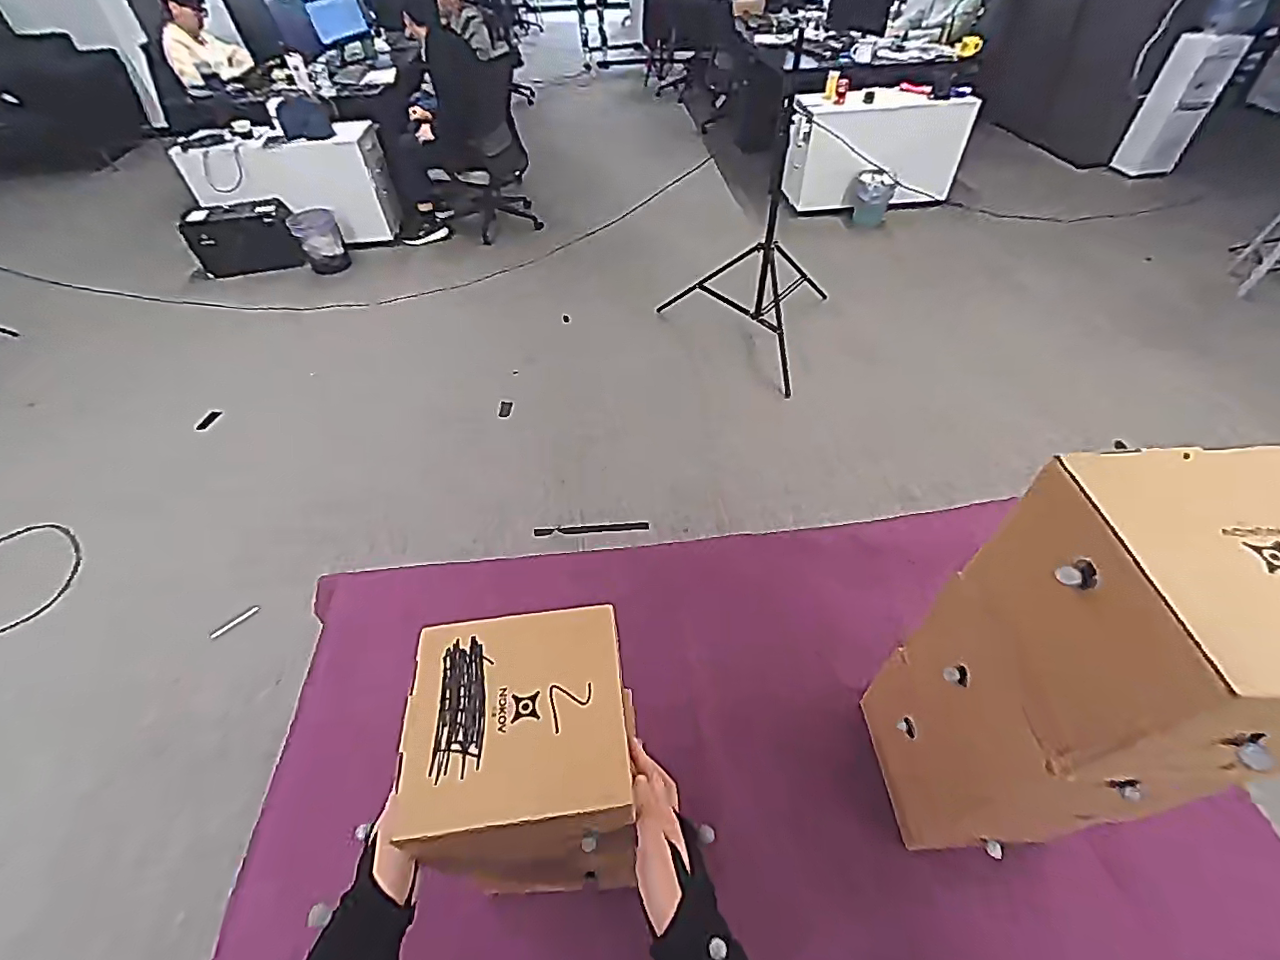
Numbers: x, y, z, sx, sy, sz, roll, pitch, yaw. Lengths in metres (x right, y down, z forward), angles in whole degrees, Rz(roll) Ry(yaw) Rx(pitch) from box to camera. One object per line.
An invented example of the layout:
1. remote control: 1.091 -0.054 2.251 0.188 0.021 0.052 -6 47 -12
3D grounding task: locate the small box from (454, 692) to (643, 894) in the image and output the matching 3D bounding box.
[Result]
1. small box: -0.086 0.355 0.611 0.179 0.176 0.168 -3 47 0

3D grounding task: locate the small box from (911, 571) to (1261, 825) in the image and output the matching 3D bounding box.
1. small box: 0.383 0.202 0.506 0.168 0.176 0.179 -2 46 2

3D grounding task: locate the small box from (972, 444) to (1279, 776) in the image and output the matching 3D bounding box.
1. small box: 0.378 0.097 0.382 0.168 0.176 0.179 -2 47 2

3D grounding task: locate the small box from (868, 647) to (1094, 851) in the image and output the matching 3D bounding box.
1. small box: 0.389 0.310 0.630 0.168 0.176 0.179 -4 48 0
